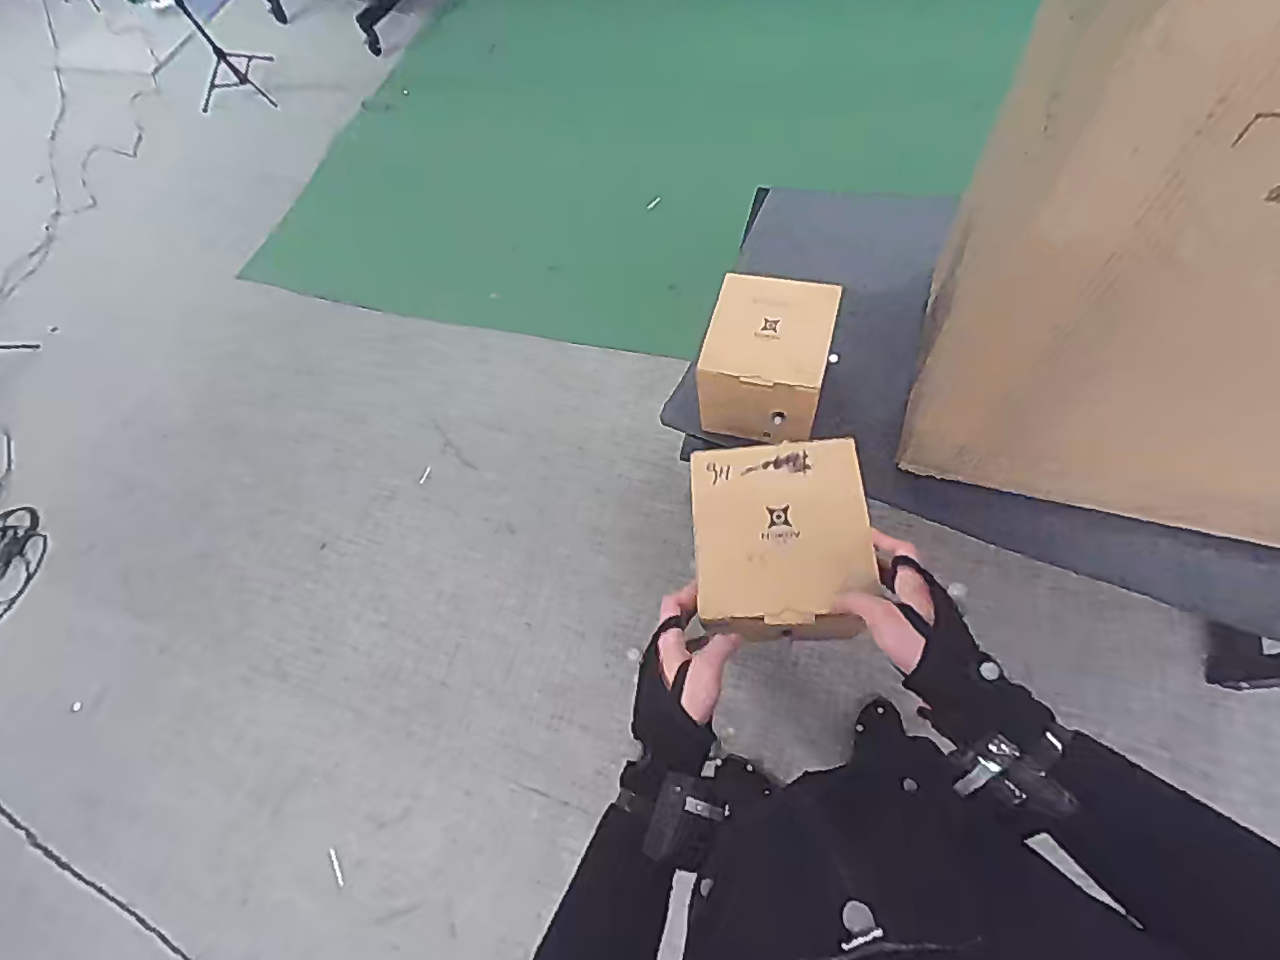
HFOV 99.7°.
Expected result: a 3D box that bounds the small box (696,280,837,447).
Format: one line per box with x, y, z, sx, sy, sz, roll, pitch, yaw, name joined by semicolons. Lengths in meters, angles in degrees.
0.189;-0.171;0.822;0.168;0.176;0.179;12;66;14;small box
